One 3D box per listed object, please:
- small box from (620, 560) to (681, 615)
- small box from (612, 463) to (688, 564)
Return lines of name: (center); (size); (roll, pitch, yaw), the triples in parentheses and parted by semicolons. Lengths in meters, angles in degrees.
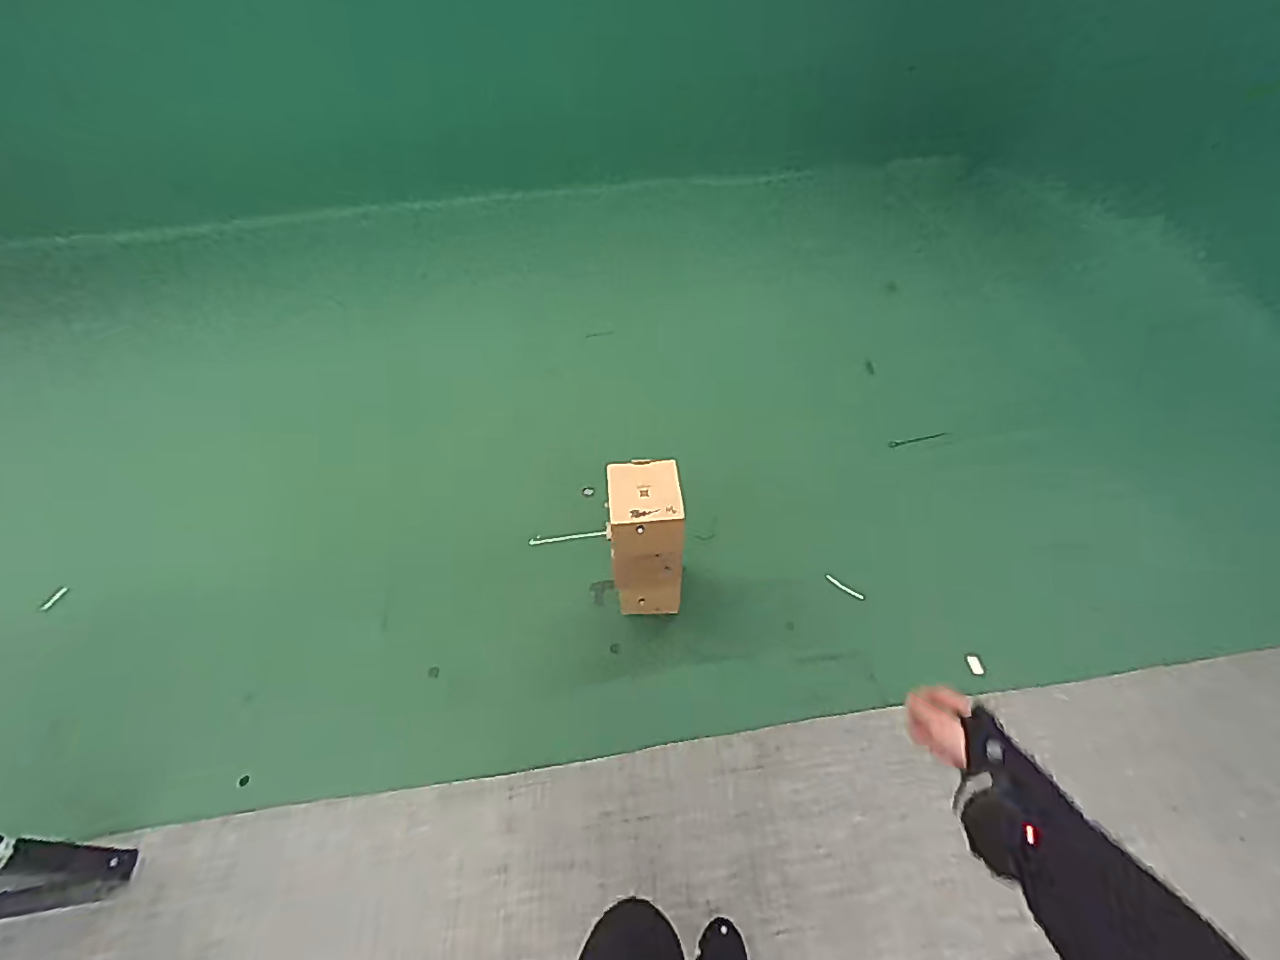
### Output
small box: (0.032, 0.277, 1.552); (0.168, 0.176, 0.179); (-1, 51, 1)
small box: (0.018, 0.081, 1.288); (0.168, 0.176, 0.179); (-4, 51, -2)
